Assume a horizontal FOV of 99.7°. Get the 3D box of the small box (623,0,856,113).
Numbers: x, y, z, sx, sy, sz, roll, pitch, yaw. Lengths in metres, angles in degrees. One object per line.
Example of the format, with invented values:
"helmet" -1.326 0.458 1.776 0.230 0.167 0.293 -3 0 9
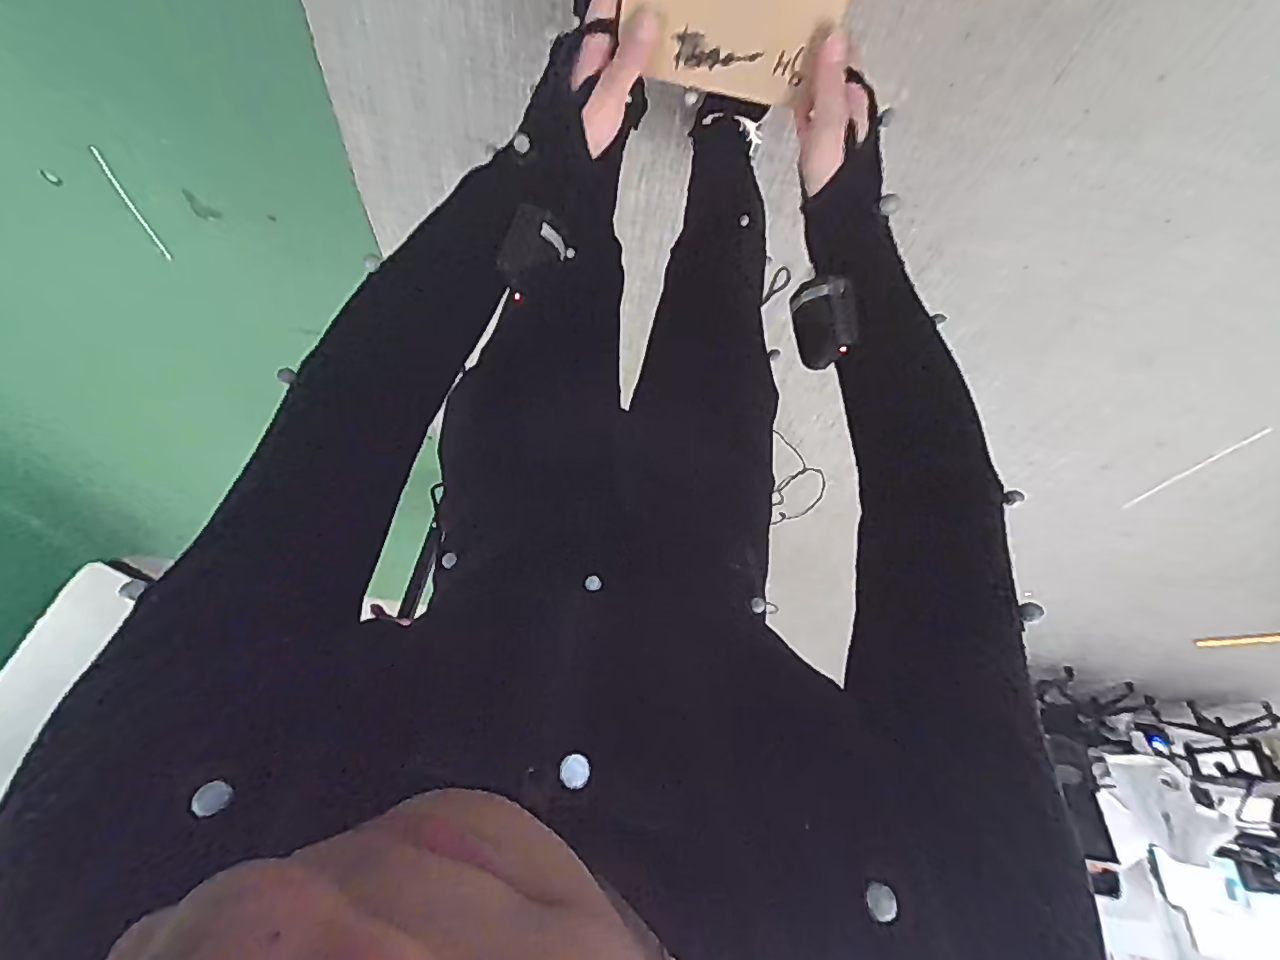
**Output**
"small box" 0.087 -0.429 0.436 0.168 0.176 0.179 11 132 -3
